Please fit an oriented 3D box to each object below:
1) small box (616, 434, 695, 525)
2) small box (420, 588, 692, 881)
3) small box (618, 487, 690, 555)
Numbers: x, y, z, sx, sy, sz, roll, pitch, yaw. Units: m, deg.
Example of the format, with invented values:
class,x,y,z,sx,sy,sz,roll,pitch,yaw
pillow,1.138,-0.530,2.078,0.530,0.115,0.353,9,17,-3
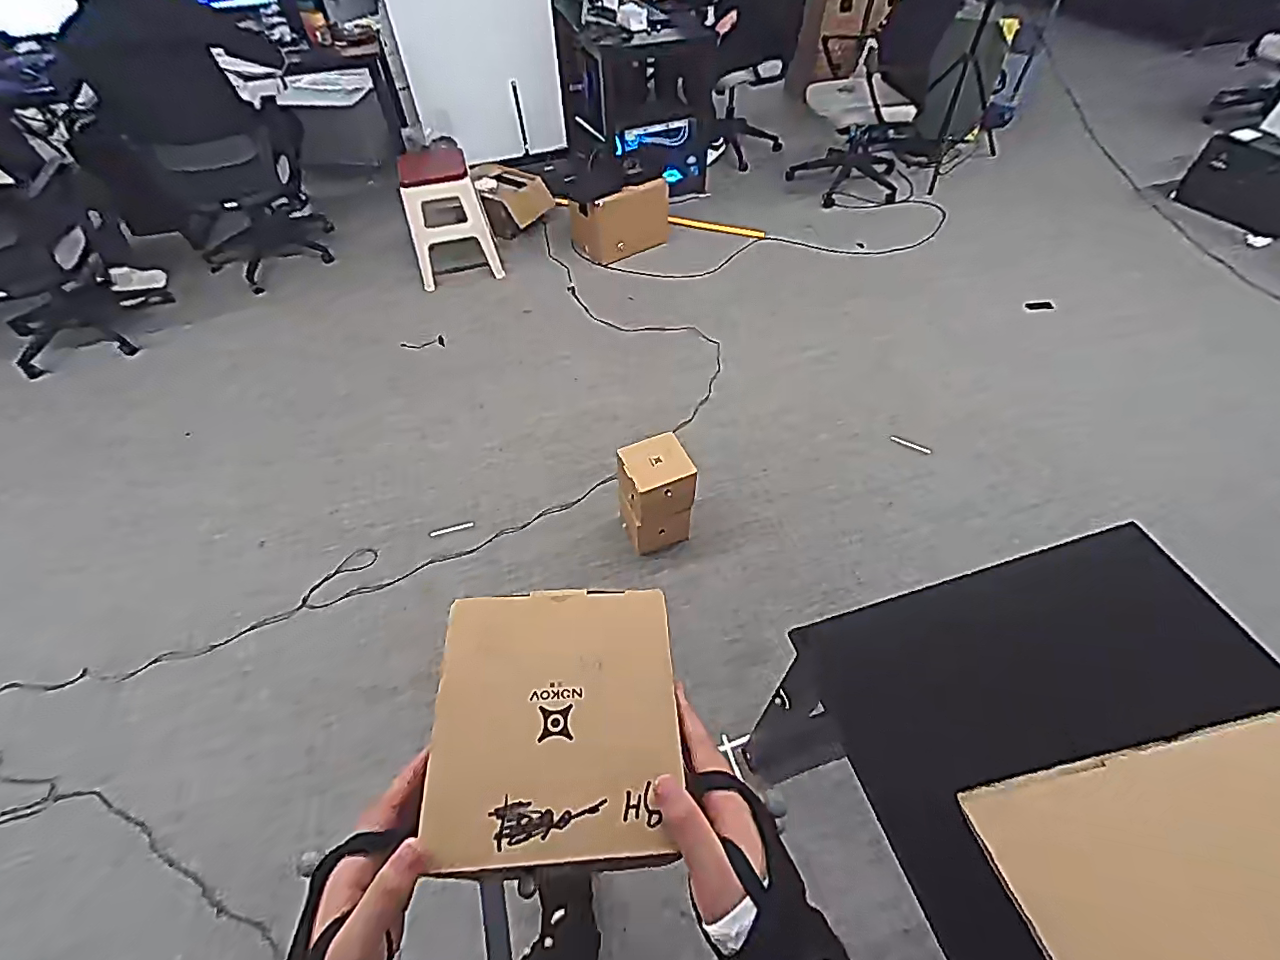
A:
class,x,y,z,sx,sy,sz,roll,pitch,yaw
small box,0.043,0.004,1.550,0.179,0.176,0.168,-20,55,-15
small box,-0.058,0.206,0.436,0.168,0.176,0.179,-2,52,-4
small box,0.041,0.106,1.676,0.179,0.176,0.168,-18,54,-11
